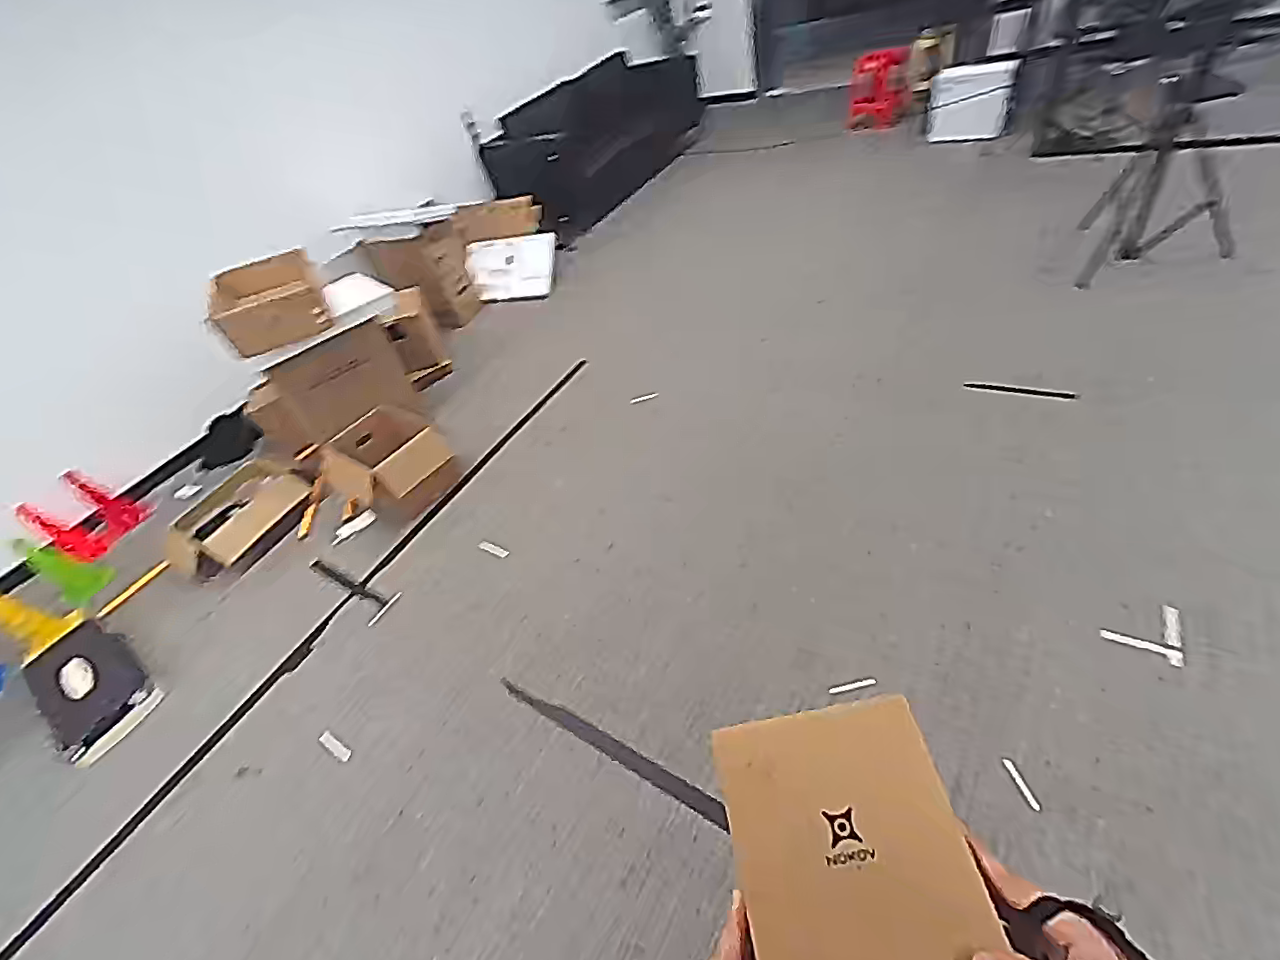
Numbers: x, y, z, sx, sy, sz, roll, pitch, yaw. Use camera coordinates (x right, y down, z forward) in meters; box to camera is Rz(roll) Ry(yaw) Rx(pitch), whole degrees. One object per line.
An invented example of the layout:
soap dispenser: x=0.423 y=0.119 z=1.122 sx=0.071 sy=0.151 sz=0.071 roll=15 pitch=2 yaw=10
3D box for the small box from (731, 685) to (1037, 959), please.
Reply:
small box: x=0.174 y=0.297 z=0.460 sx=0.168 sy=0.176 sz=0.179 roll=-11 pitch=53 yaw=3
